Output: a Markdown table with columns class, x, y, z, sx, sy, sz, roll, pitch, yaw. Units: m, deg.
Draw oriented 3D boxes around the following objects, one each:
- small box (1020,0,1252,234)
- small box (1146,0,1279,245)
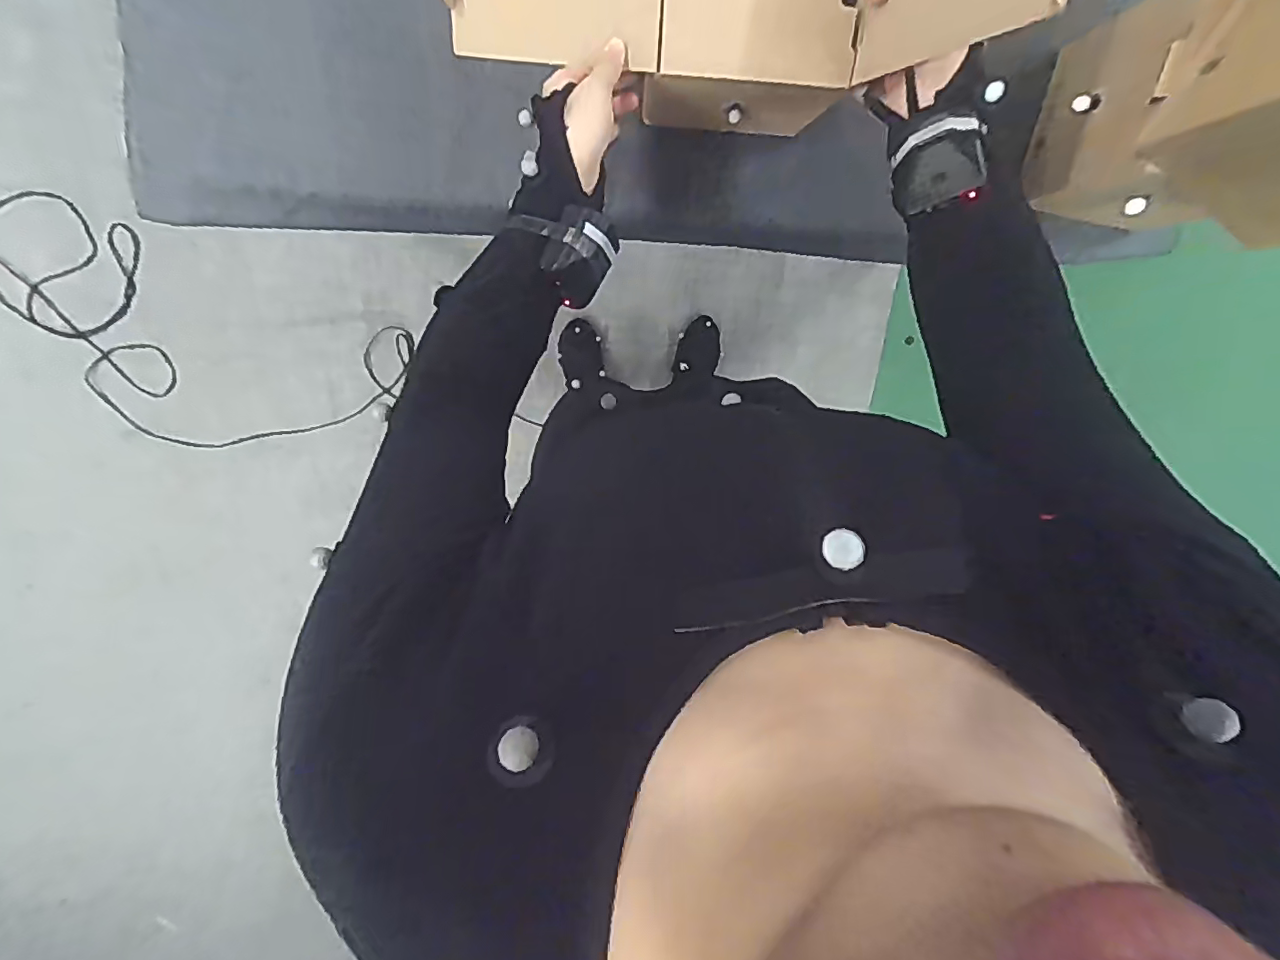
| class | x | y | z | sx | sy | sz | roll | pitch | yaw |
| --- | --- | --- | --- | --- | --- | --- | --- | --- | --- |
| small box | 0.551 | -0.366 | 0.563 | 0.179 | 0.176 | 0.168 | 8 | 106 | -6 |
| small box | 0.564 | -0.302 | 0.412 | 0.179 | 0.176 | 0.168 | 28 | 103 | -12 |
